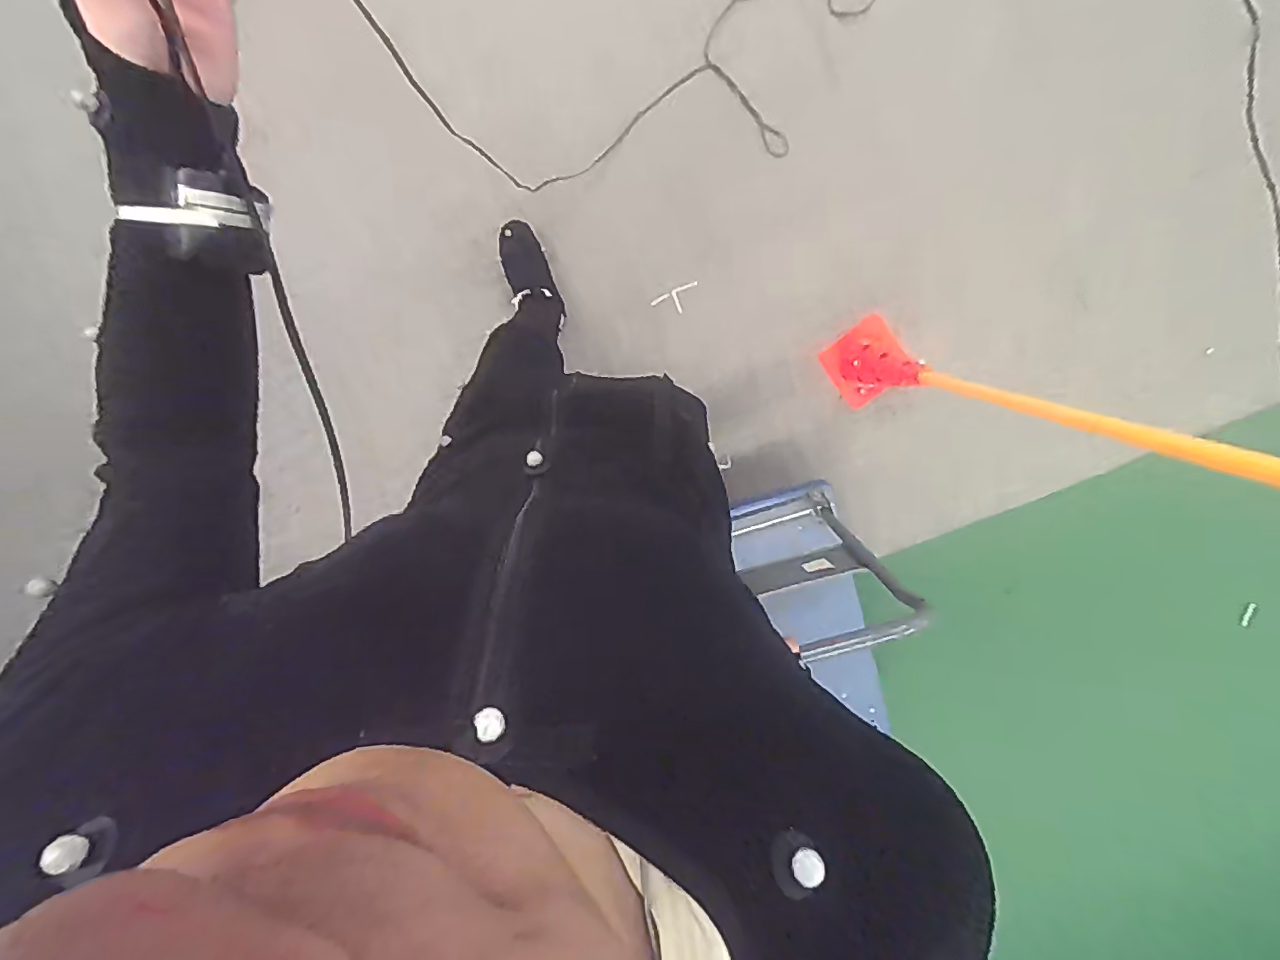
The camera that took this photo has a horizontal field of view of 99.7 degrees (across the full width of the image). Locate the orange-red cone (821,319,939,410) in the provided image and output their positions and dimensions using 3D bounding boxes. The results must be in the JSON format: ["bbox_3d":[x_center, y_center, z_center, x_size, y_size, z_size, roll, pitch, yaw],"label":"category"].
[{"bbox_3d":[0.633,-0.270,1.346,0.199,0.360,0.198,-37,104,9],"label":"orange-red cone"}]
